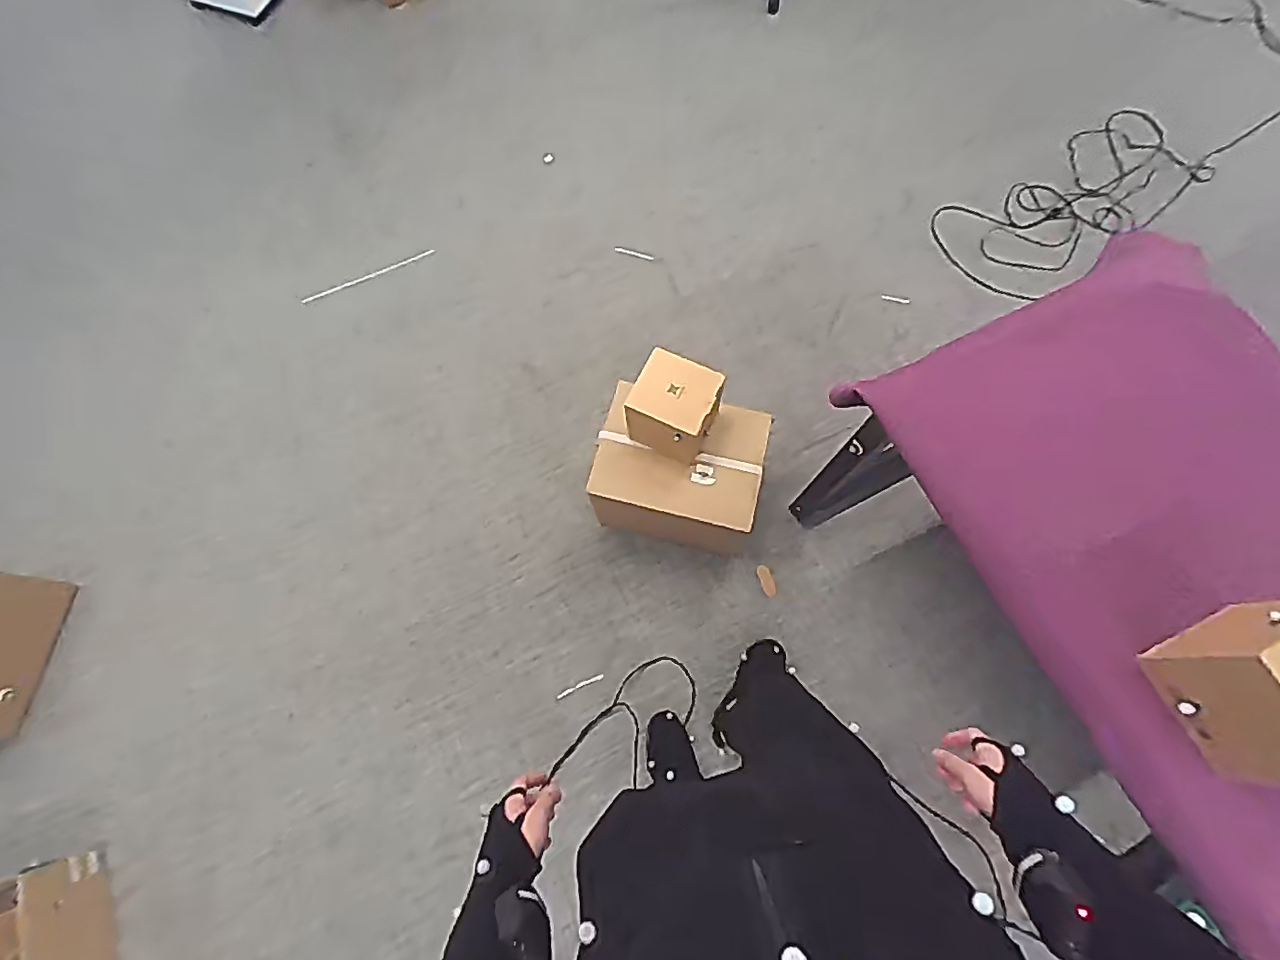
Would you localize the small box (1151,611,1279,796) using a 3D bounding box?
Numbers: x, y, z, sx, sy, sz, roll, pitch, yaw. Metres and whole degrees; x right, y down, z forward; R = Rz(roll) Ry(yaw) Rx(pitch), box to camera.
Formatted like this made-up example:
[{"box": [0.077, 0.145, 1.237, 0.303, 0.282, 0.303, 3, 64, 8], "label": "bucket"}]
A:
[{"box": [0.784, 0.257, 0.636, 0.179, 0.176, 0.168, -23, 71, -7], "label": "small box"}]

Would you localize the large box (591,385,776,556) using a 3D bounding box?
[{"box": [0.109, -0.013, 1.447, 0.408, 0.320, 0.320, 14, 73, 5], "label": "large box"}]

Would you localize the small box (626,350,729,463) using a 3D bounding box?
[{"box": [0.082, -0.161, 1.241, 0.179, 0.176, 0.168, 25, 72, 9], "label": "small box"}]
